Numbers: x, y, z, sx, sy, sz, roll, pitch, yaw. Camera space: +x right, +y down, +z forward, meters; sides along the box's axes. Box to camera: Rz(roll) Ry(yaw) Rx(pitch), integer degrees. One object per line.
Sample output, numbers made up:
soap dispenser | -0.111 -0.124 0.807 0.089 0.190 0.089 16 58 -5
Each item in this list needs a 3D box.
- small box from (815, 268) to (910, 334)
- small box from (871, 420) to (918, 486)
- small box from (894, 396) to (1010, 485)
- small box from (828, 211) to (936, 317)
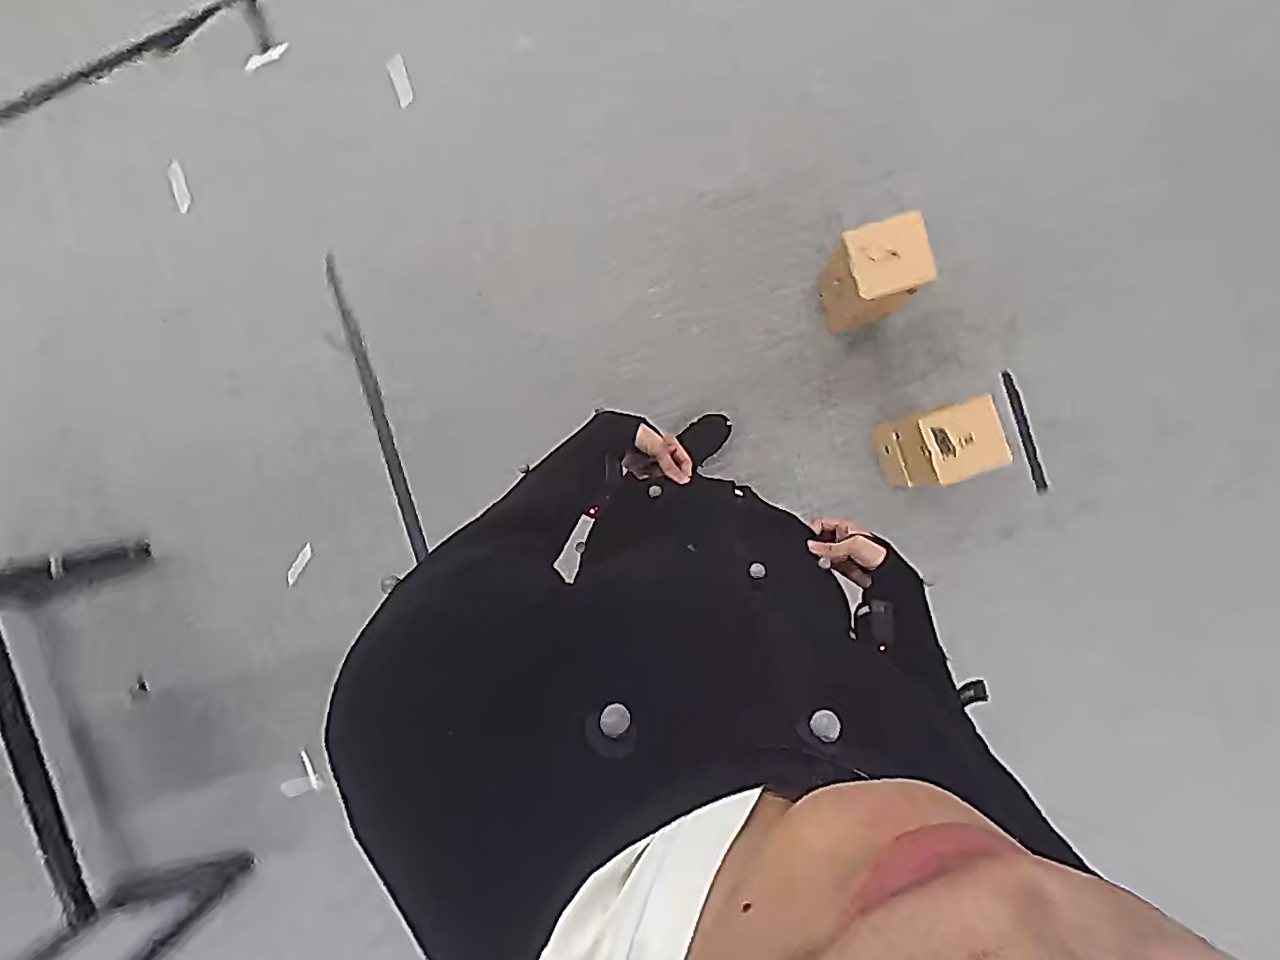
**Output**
small box | 0.600 -0.516 1.476 0.179 0.176 0.168 -14 90 6
small box | 0.757 -0.087 1.483 0.179 0.176 0.168 -19 91 5
small box | 0.745 -0.092 1.319 0.179 0.176 0.168 -19 91 5
small box | 0.578 -0.515 1.313 0.179 0.176 0.168 -15 90 7
